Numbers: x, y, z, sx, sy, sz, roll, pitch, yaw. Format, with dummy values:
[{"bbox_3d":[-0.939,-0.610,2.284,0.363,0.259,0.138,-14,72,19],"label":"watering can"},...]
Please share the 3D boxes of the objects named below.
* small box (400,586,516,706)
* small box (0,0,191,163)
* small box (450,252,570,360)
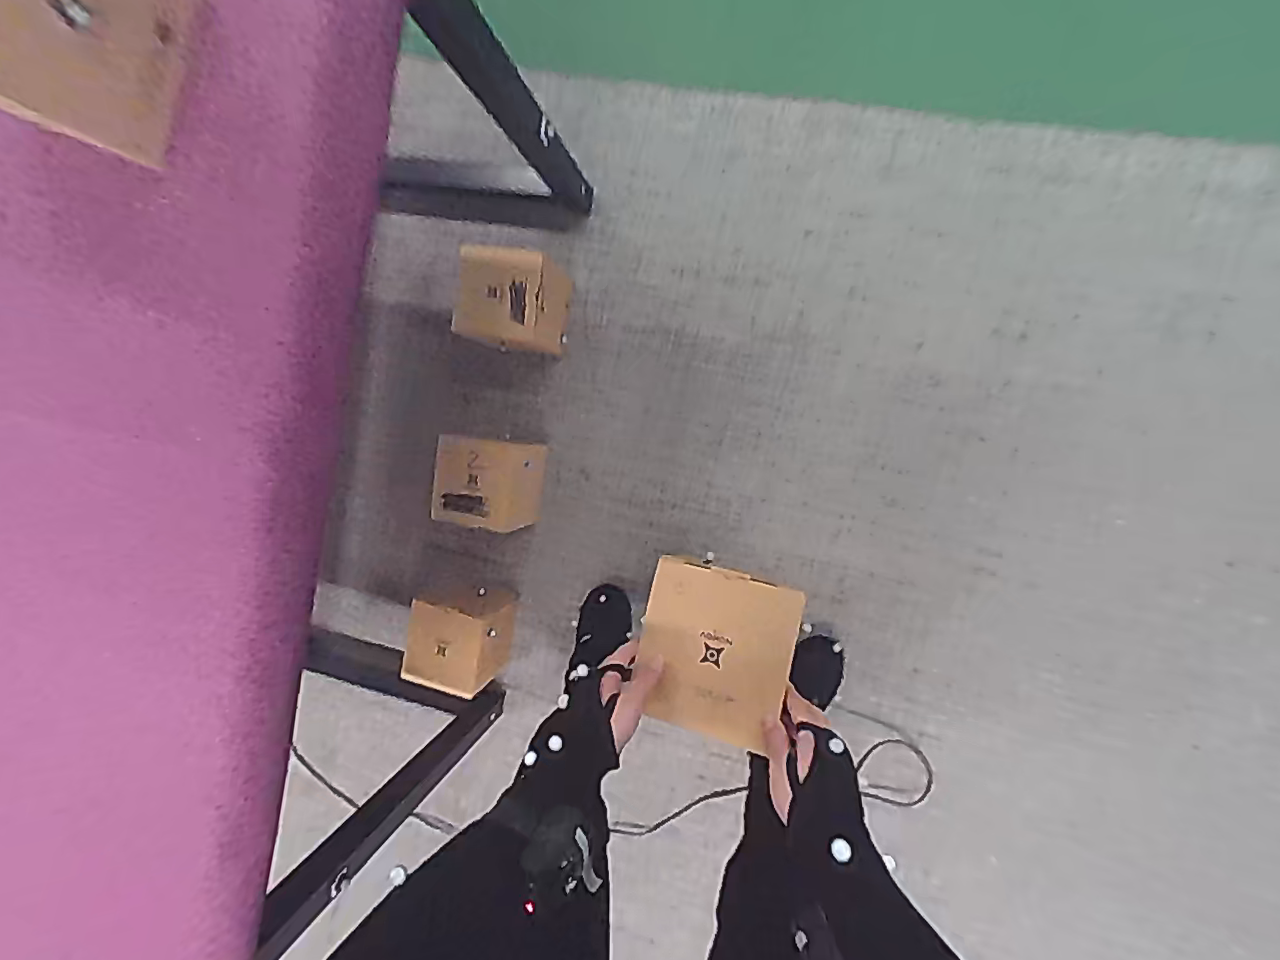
[{"bbox_3d":[-0.384,0.348,1.167,0.168,0.176,0.179,12,95,11],"label":"small box"},{"bbox_3d":[-0.495,-0.374,0.405,0.179,0.176,0.168,23,98,10],"label":"small box"},{"bbox_3d":[-0.255,-0.345,1.099,0.179,0.176,0.168,10,95,12],"label":"small box"}]
